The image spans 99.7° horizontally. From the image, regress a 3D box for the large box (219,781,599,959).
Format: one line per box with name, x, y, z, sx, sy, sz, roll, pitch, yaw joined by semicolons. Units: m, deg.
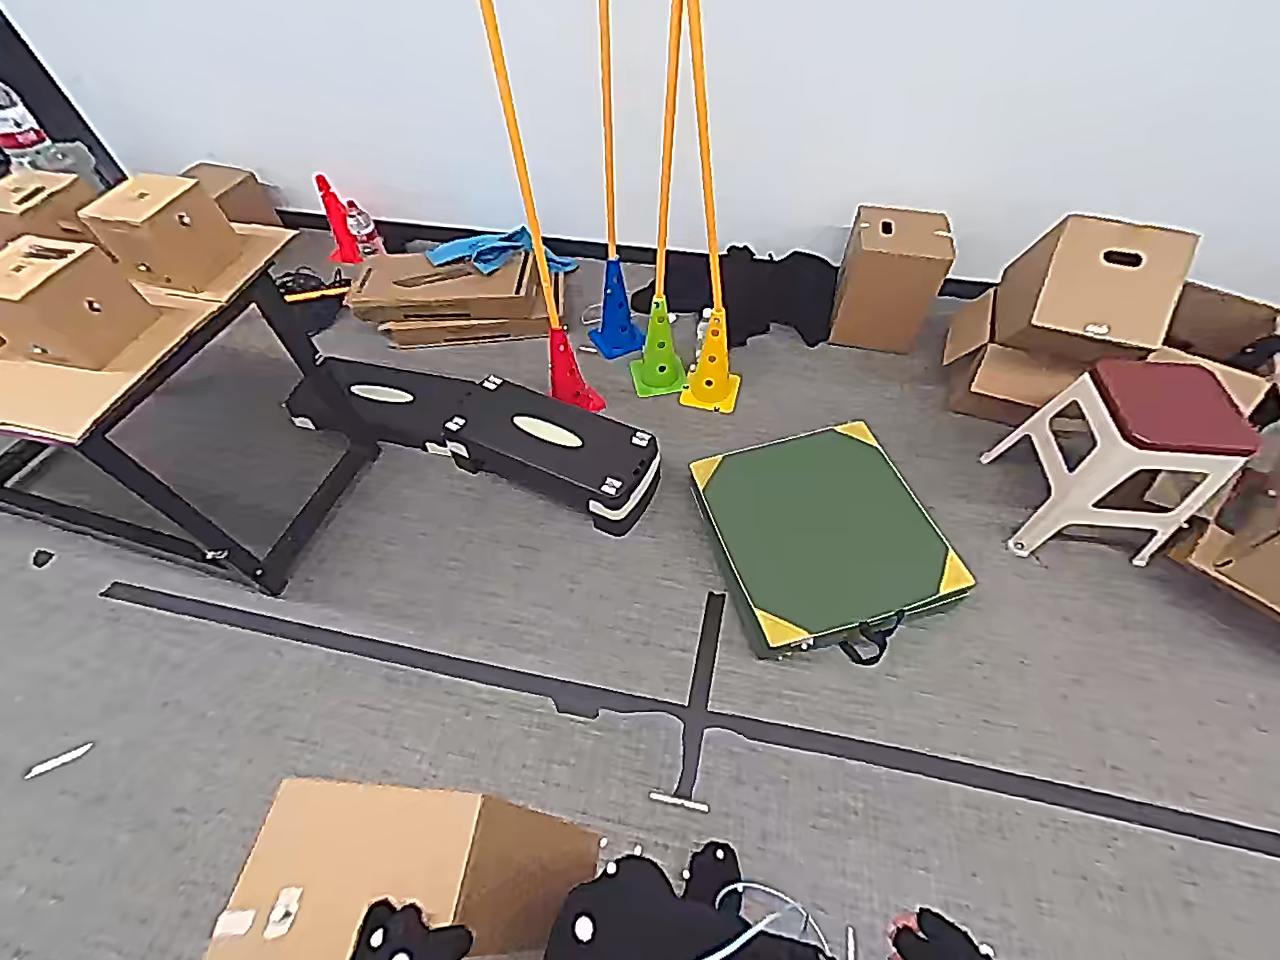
large box;-0.288;0.629;0.751;0.320;0.408;0.320;-4;52;18
